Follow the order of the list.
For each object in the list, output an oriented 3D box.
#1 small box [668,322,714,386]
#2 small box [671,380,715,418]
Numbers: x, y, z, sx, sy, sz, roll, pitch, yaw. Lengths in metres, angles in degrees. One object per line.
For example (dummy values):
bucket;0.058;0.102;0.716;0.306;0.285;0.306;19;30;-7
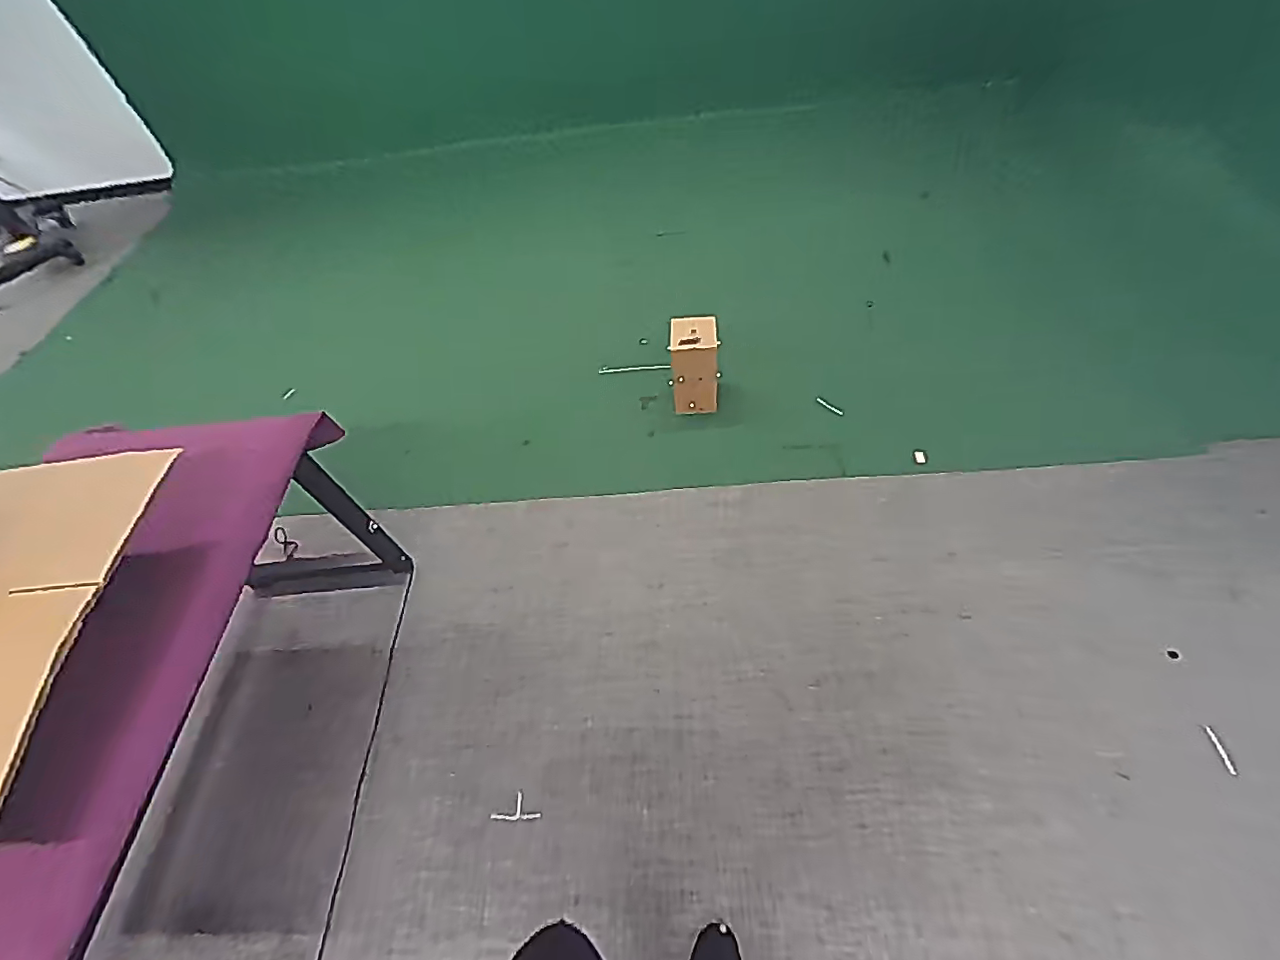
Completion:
small box;0.191;-0.461;2.005;0.168;0.176;0.179;-1;53;5
small box;0.208;-0.364;2.137;0.168;0.176;0.179;-2;54;5
